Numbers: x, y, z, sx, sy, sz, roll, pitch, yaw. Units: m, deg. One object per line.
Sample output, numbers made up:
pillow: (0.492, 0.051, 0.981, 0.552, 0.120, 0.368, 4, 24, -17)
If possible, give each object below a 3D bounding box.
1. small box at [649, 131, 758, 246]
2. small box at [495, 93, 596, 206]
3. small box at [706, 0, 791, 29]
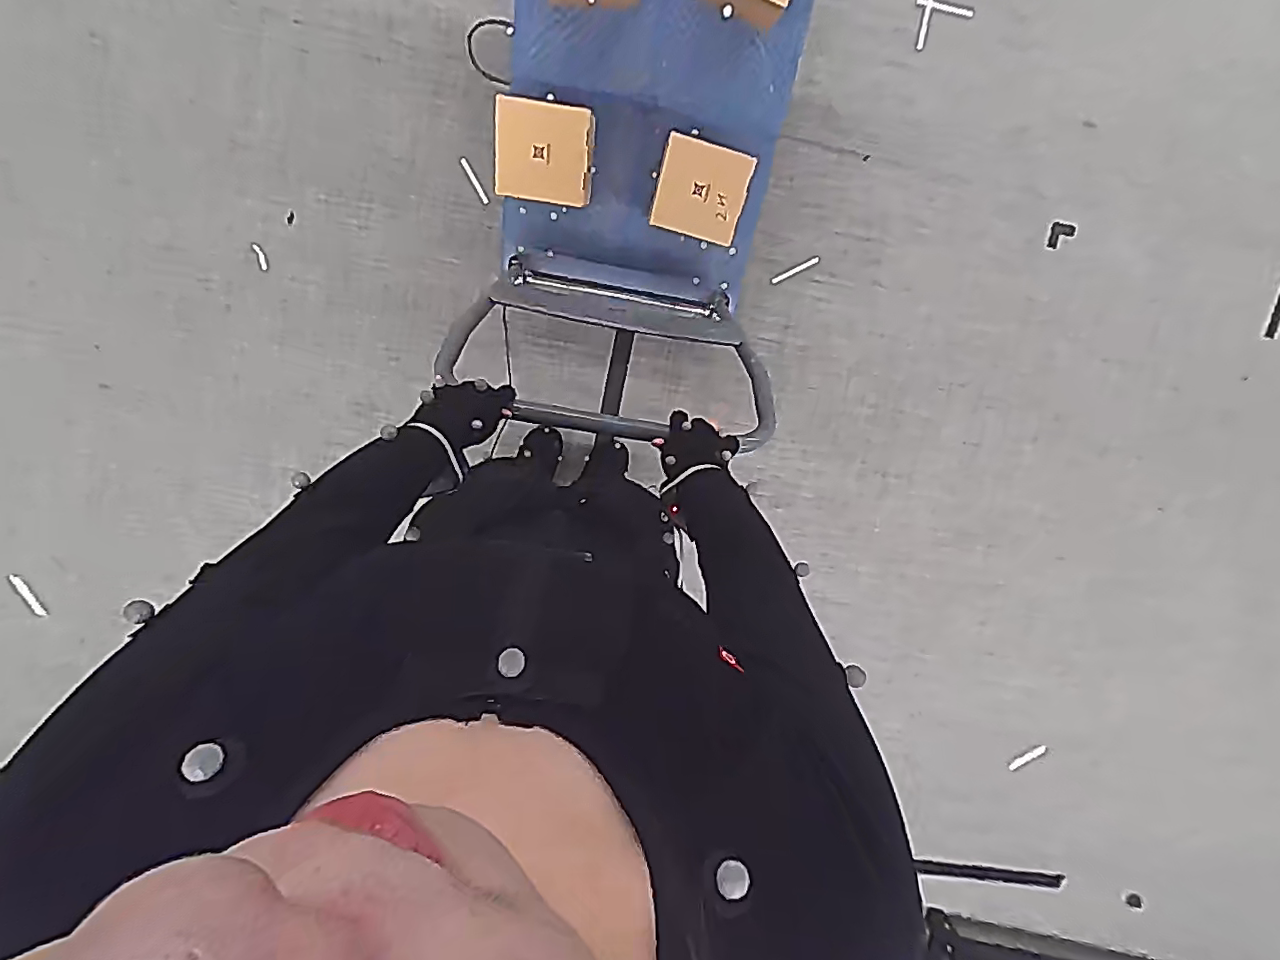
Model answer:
small box: (0.123, -0.603, 1.131, 0.179, 0.176, 0.168, 13, 118, -8)
small box: (-0.187, -0.660, 1.097, 0.179, 0.176, 0.168, 6, 118, -5)
small box: (0.209, -0.945, 0.948, 0.168, 0.176, 0.179, 19, 118, -10)
